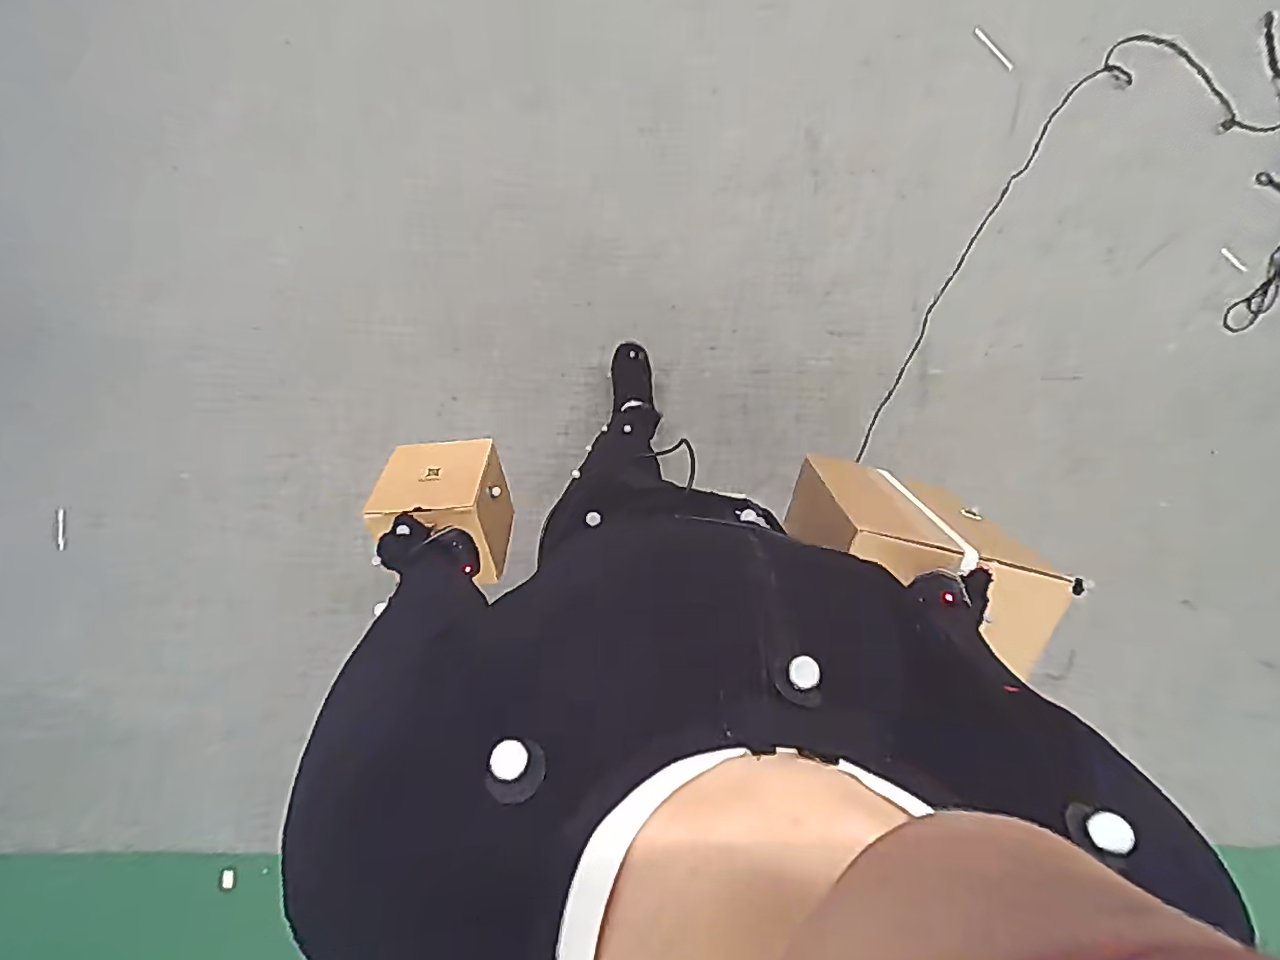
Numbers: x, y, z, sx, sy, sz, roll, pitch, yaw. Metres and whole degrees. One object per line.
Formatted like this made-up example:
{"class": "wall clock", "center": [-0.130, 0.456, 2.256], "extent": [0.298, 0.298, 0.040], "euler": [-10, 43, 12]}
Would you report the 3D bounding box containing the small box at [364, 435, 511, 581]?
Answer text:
{"class": "small box", "center": [-0.319, 0.045, 0.899], "extent": [0.168, 0.179, 0.176], "euler": [-4, 129, 1]}
